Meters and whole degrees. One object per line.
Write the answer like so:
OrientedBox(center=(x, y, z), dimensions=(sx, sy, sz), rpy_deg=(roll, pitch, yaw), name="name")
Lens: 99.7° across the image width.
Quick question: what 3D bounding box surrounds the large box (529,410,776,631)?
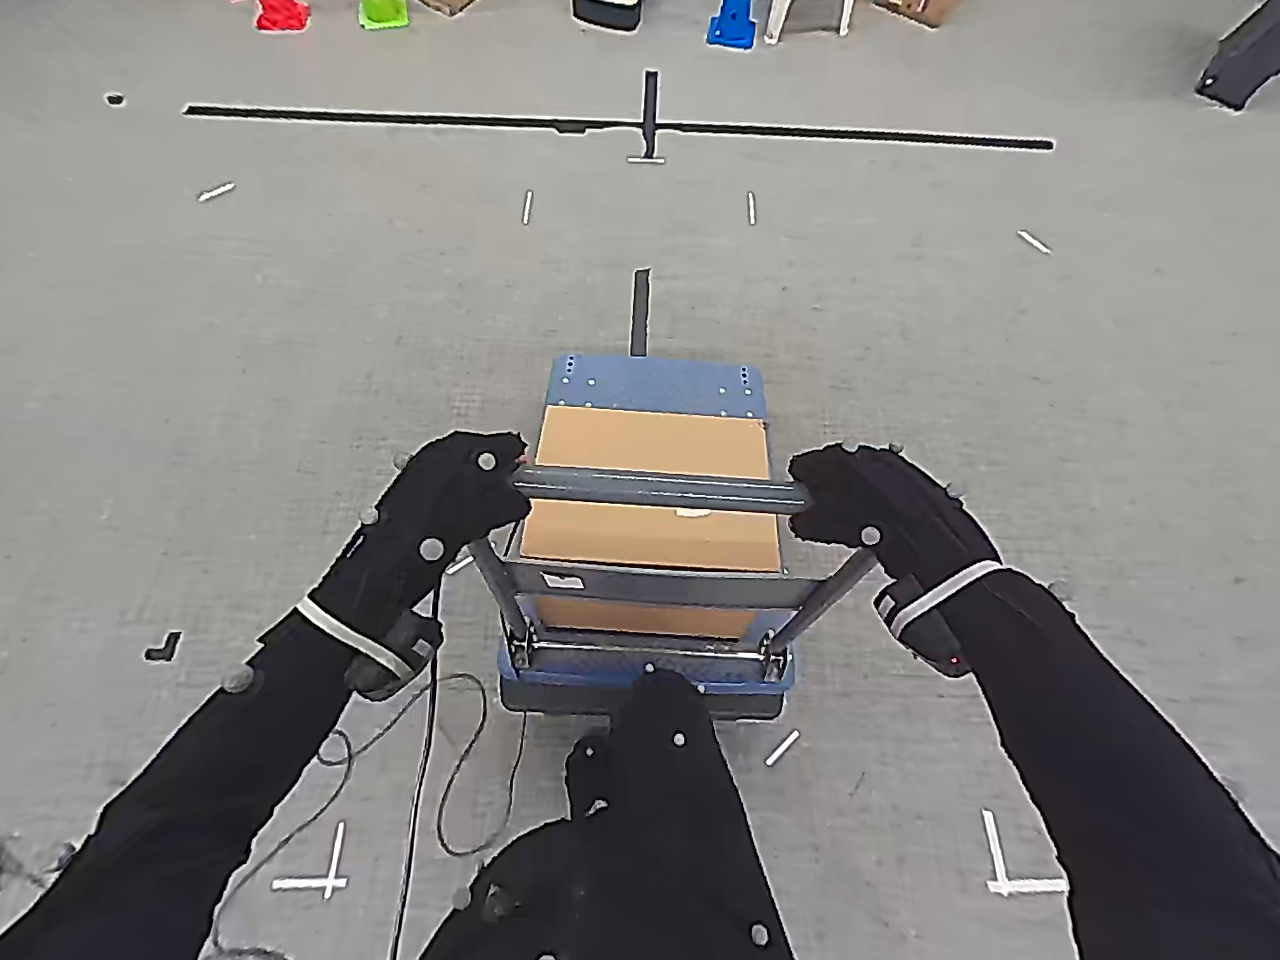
OrientedBox(center=(0.014, 0.089, 1.062), dimensions=(0.408, 0.320, 0.320), rpy_deg=(4, 56, -2), name="large box")
